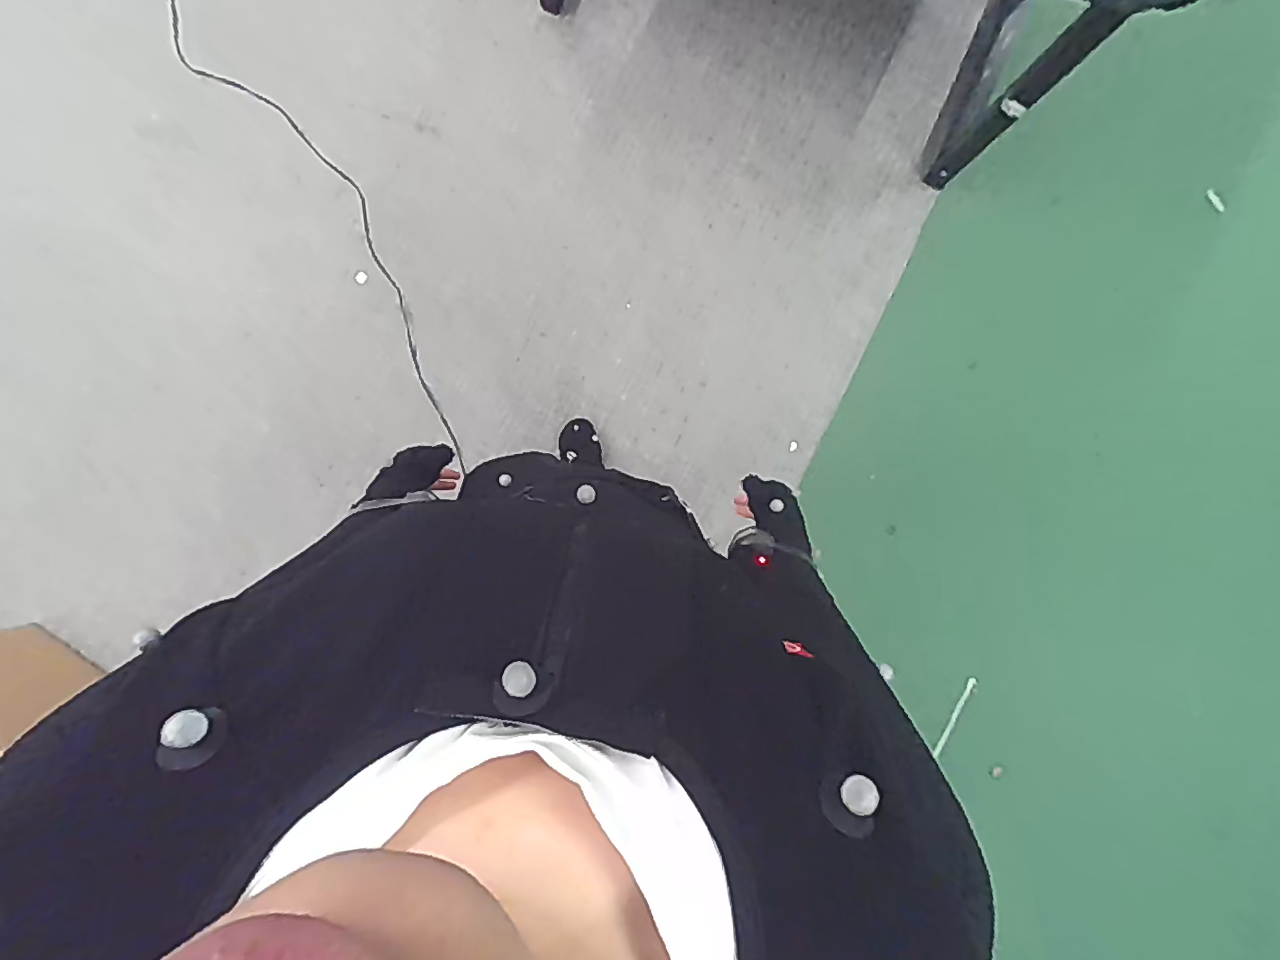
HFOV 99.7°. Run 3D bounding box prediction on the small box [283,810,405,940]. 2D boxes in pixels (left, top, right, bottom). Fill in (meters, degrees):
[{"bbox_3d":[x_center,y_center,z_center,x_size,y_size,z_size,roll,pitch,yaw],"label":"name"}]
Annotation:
[{"bbox_3d":[-0.719,0.964,1.337,0.179,0.176,0.168,26,90,1],"label":"small box"}]
